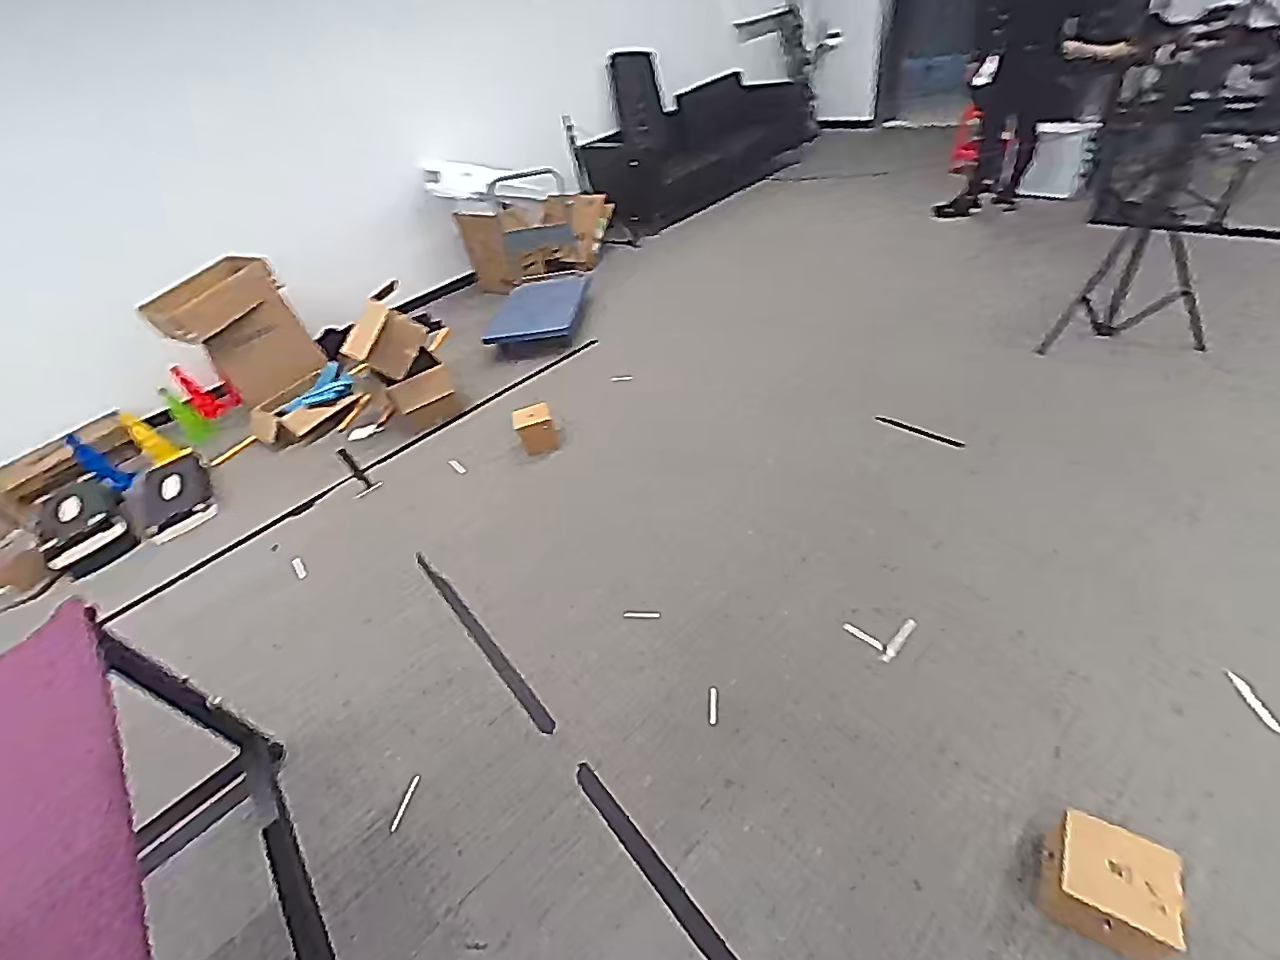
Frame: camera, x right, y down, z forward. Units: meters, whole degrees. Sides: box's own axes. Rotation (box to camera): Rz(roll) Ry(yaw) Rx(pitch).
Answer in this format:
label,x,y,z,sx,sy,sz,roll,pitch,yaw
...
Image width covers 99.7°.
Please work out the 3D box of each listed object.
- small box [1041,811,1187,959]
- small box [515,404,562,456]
label,x,y,z,sx,sy,sz,roll,pitch,yaw
small box,0.914,0.801,1.058,0.179,0.176,0.168,16,48,31
small box,-0.500,-0.244,2.672,0.179,0.176,0.168,-18,40,-6
